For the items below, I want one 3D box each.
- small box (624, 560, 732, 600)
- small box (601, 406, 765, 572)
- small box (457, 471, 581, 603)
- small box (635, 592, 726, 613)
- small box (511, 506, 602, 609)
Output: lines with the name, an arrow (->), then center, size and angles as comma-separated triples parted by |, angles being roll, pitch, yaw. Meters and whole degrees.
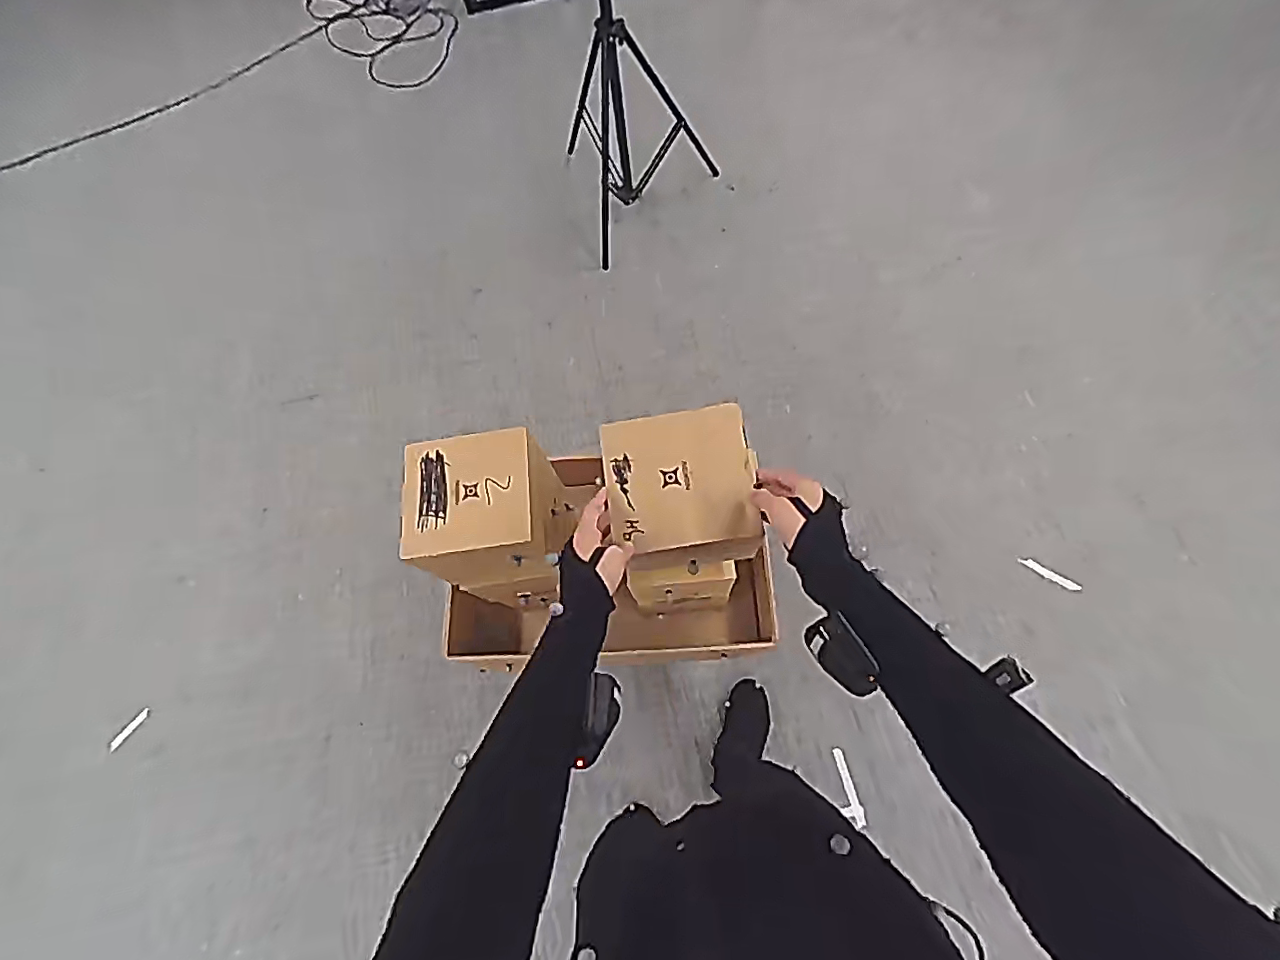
small box -> 0.061, 0.104, 0.913 | 0.168, 0.176, 0.179 | -6, 68, 3
small box -> 0.054, 0.021, 0.710 | 0.179, 0.176, 0.168 | -9, 72, 4
small box -> -0.204, 0.105, 0.936 | 0.168, 0.176, 0.179 | -10, 69, 4
small box -> 0.075, 0.163, 1.064 | 0.168, 0.176, 0.179 | -7, 69, 3
small box -> -0.180, 0.162, 1.088 | 0.179, 0.176, 0.168 | -7, 69, 2
